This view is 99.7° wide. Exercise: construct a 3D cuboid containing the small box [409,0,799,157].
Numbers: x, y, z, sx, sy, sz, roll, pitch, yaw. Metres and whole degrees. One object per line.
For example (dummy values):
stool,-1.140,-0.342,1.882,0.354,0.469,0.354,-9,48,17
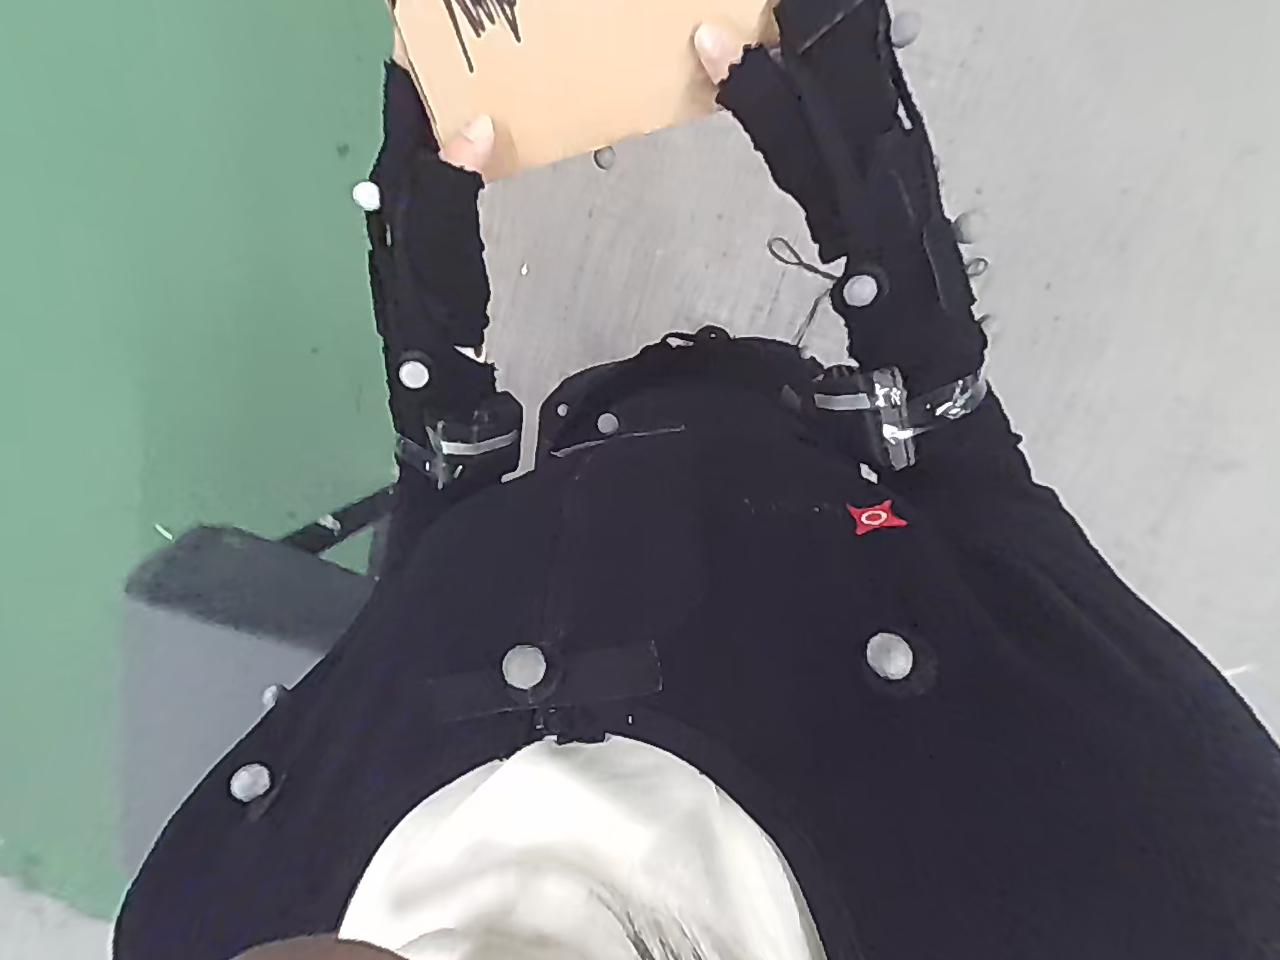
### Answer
small box,-0.022,-0.293,0.289,0.179,0.176,0.168,-10,127,10
